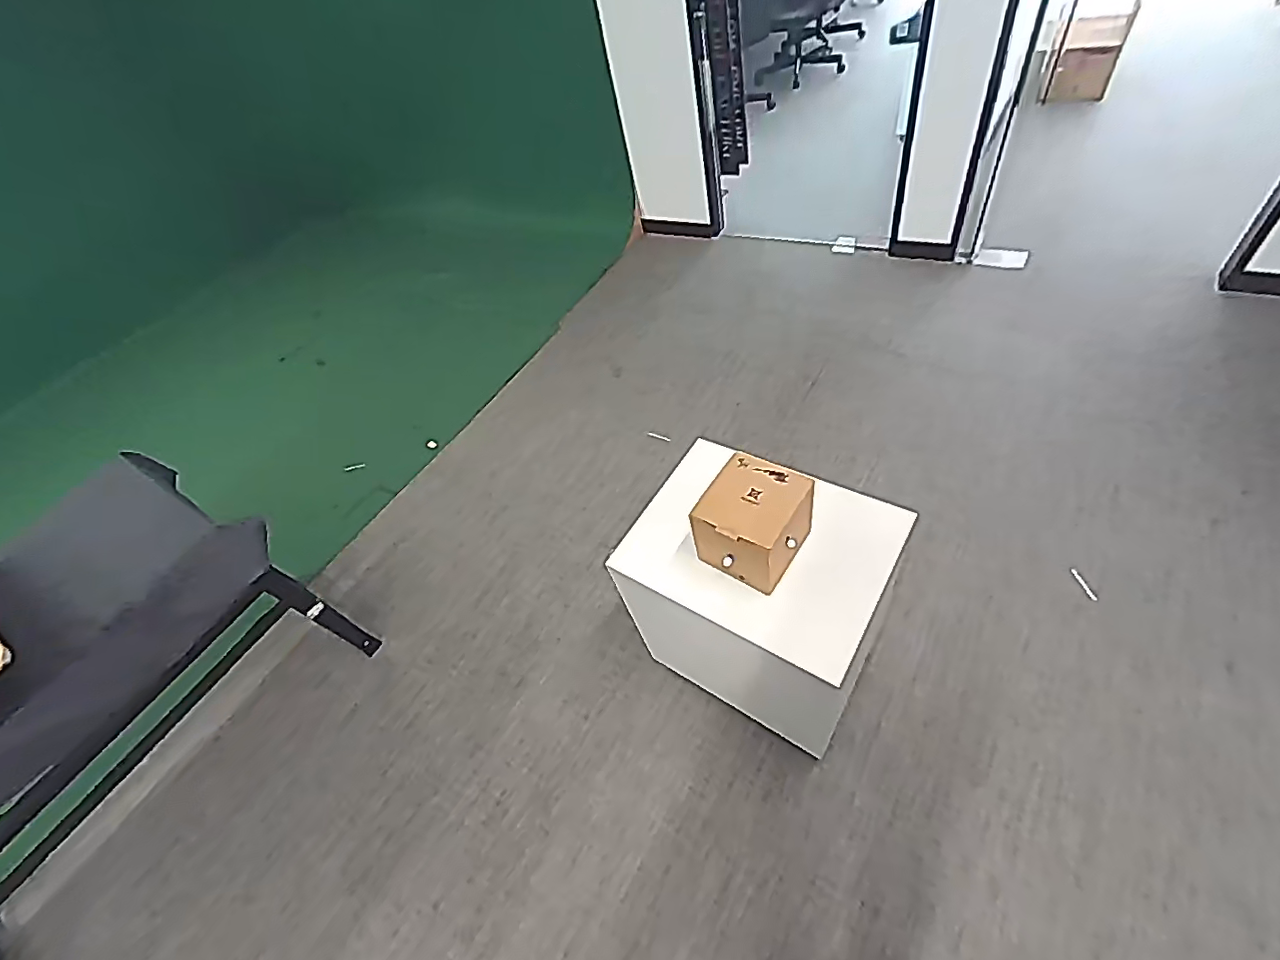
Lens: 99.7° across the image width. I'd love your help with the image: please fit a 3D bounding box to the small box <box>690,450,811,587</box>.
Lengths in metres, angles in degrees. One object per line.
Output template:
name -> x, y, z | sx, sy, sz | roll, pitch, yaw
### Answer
small box -> 0.219, 0.078, 1.049 | 0.168, 0.176, 0.179 | 22, 60, 29
